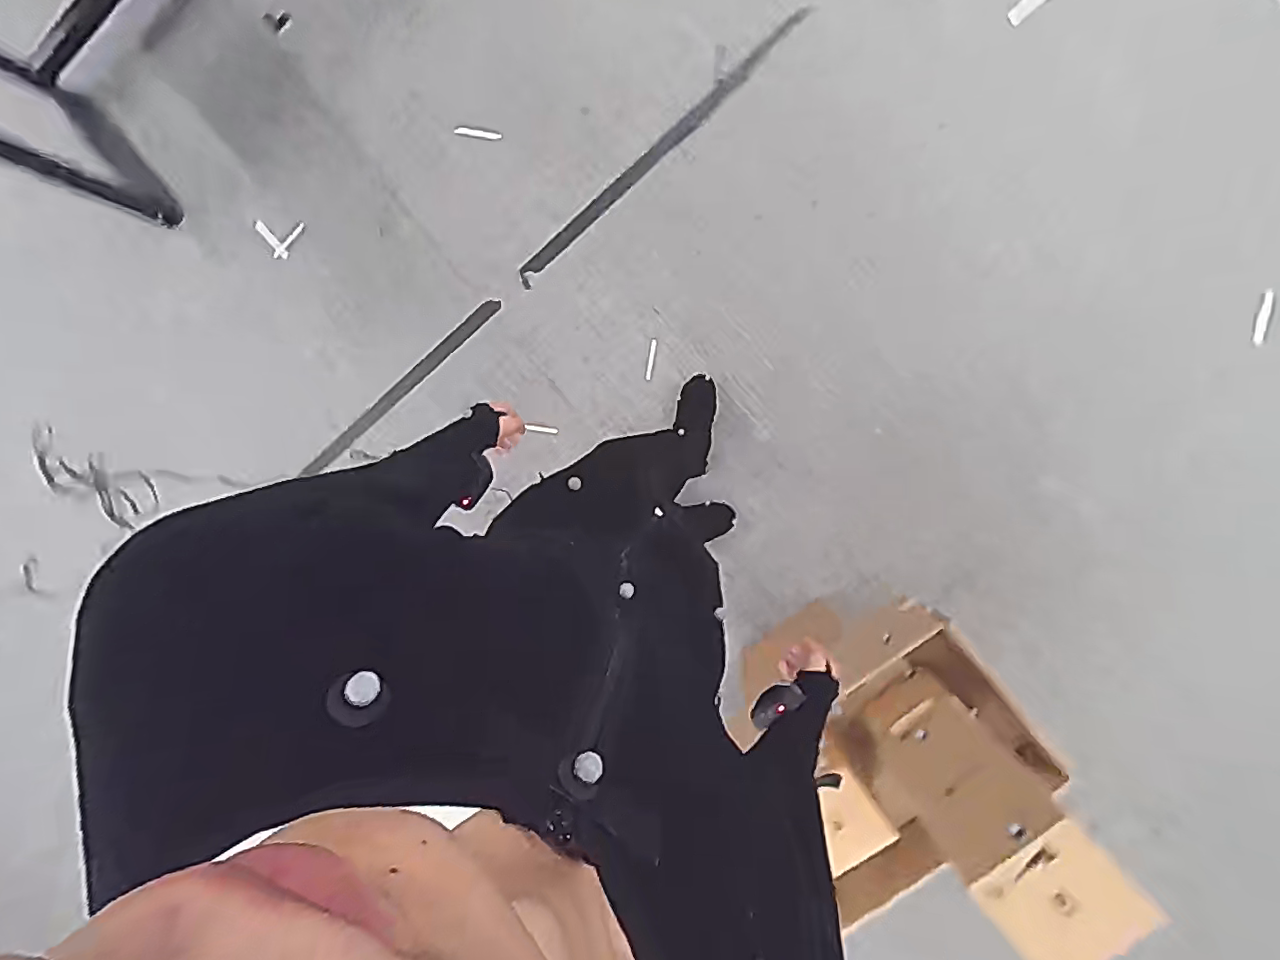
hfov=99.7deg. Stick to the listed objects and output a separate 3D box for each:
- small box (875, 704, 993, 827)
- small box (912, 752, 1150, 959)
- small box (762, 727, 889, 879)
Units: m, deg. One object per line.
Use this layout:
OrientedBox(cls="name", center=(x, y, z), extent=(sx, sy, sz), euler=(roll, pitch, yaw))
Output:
OrientedBox(cls="small box", center=(0.546, 0.529, 0.931), extent=(0.168, 0.176, 0.179), euler=(-41, 88, 7))
OrientedBox(cls="small box", center=(0.532, 0.535, 0.766), extent=(0.168, 0.176, 0.179), euler=(-42, 89, 7))
OrientedBox(cls="small box", center=(0.375, 0.660, 1.125), extent=(0.168, 0.176, 0.179), euler=(-37, 88, 7))
